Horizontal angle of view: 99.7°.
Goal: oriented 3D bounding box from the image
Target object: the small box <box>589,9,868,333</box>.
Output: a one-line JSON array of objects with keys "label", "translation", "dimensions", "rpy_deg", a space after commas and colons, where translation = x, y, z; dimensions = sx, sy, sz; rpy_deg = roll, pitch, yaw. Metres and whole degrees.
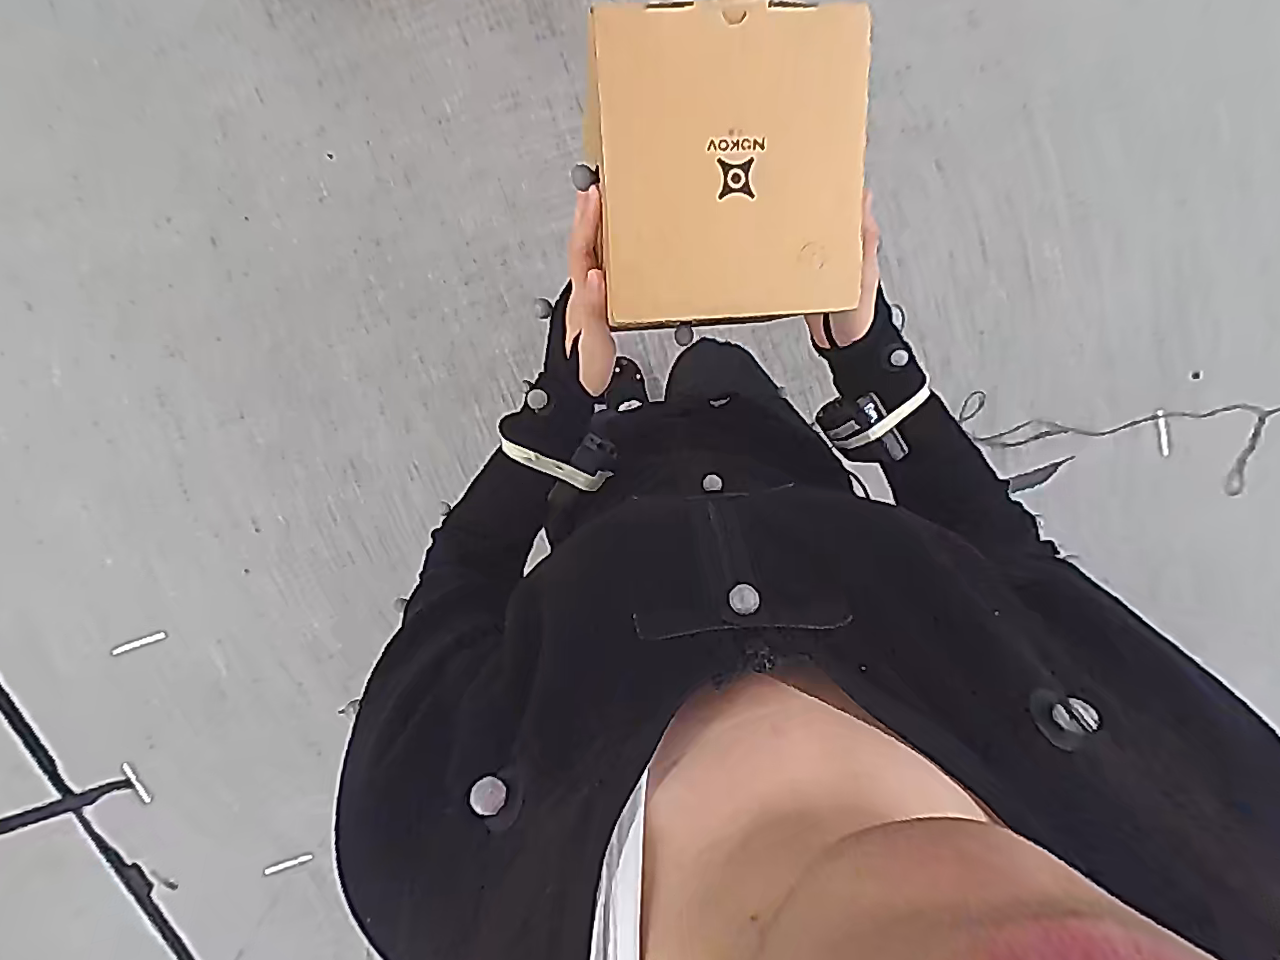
[{"label": "small box", "translation": [0.050, -0.205, 0.409], "dimensions": [0.168, 0.176, 0.179], "rpy_deg": [-5, 103, -6]}]
